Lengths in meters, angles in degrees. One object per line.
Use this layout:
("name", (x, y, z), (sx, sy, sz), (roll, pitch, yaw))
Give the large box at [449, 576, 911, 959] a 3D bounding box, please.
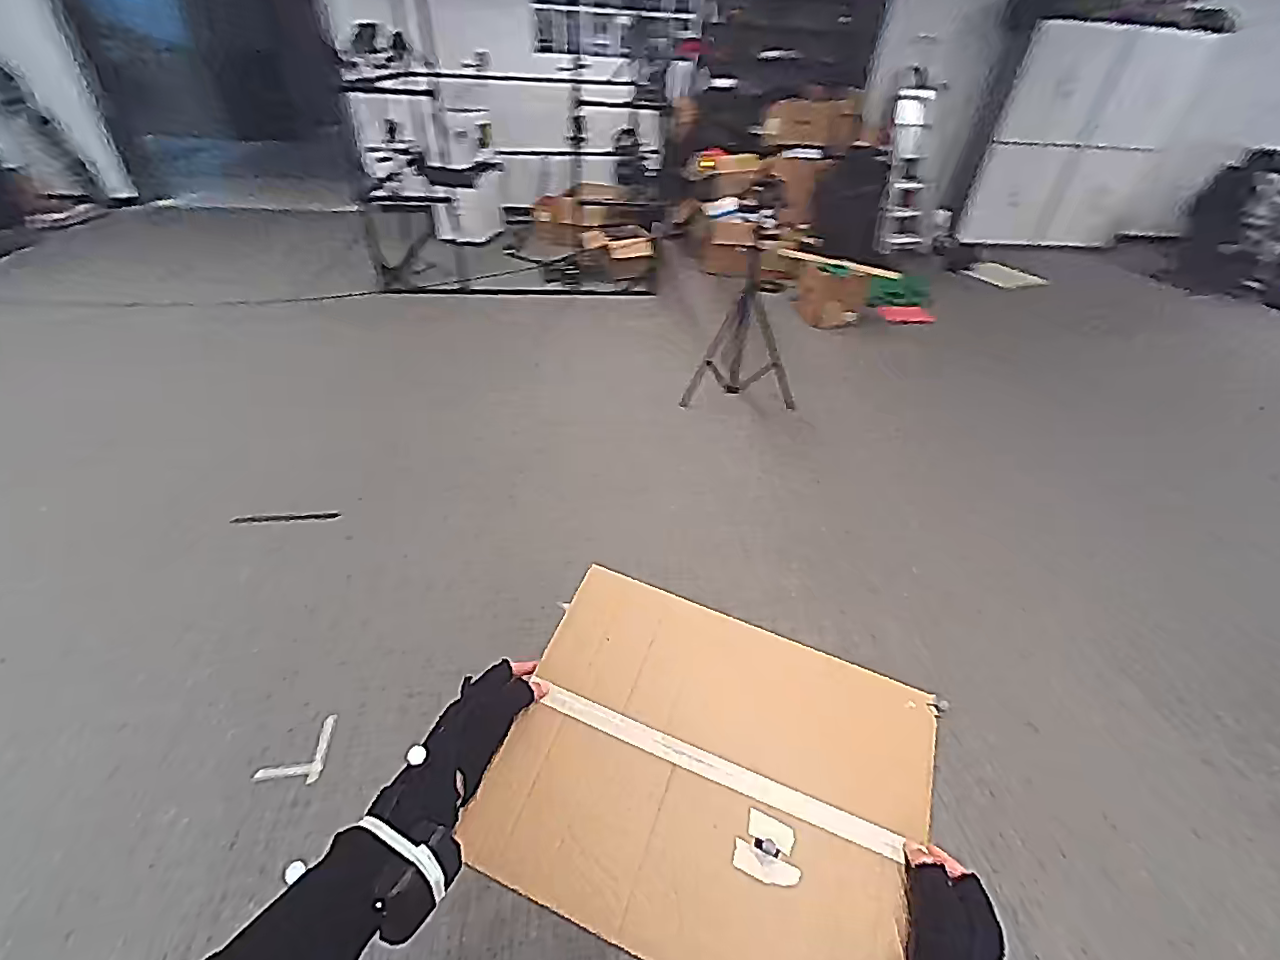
("large box", (0.052, 0.376, 0.660), (0.408, 0.320, 0.320), (19, 55, 11))
